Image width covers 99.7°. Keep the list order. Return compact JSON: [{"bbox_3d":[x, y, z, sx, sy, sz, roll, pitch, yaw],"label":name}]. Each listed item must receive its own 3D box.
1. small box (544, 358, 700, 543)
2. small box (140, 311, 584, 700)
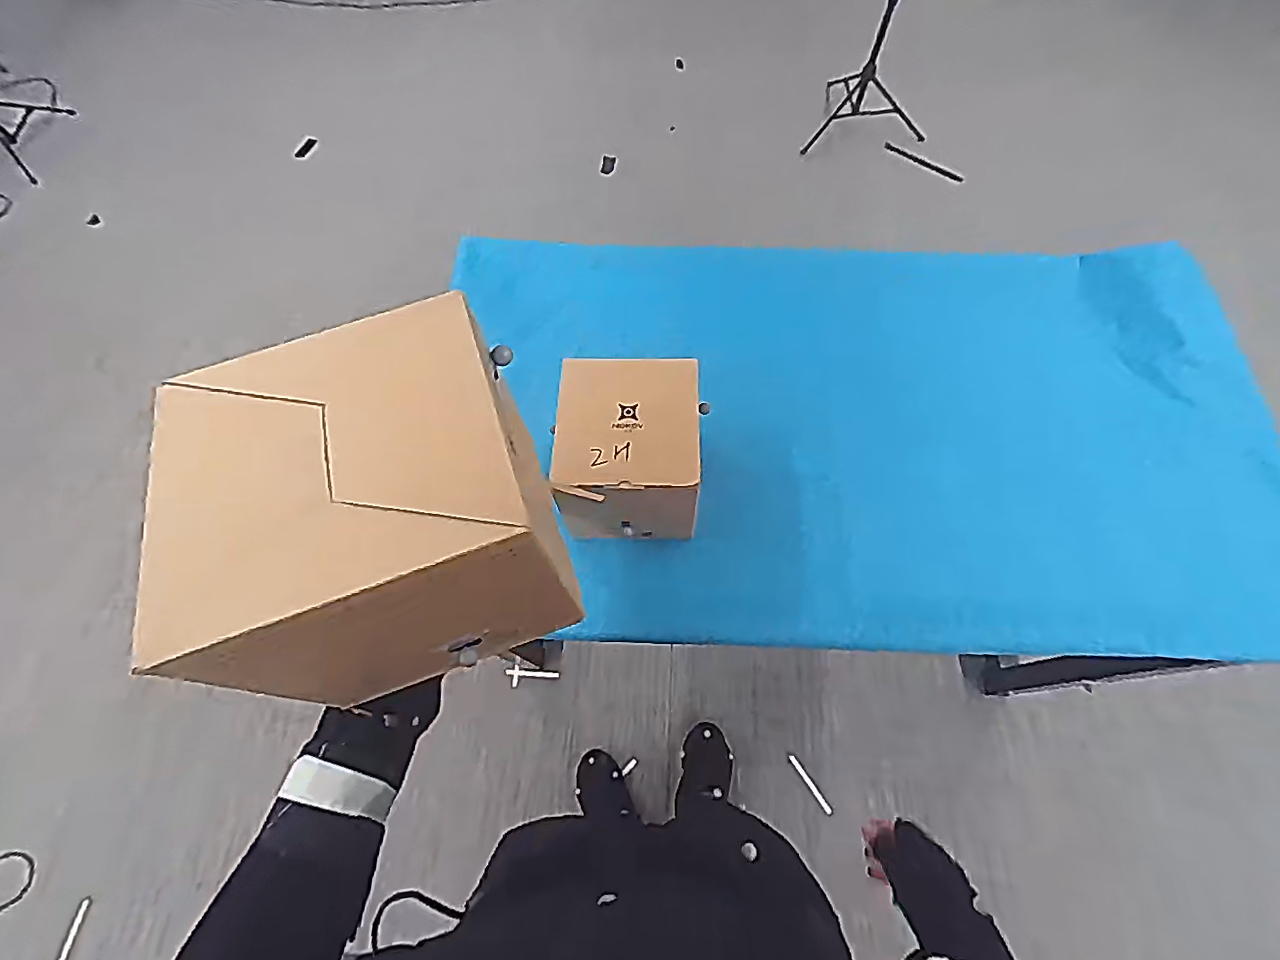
[{"bbox_3d":[-0.014,-0.032,0.692,0.168,0.176,0.179,3,67,5],"label":"small box"},{"bbox_3d":[-0.153,0.022,0.343,0.179,0.176,0.168,-19,62,-5],"label":"small box"}]
